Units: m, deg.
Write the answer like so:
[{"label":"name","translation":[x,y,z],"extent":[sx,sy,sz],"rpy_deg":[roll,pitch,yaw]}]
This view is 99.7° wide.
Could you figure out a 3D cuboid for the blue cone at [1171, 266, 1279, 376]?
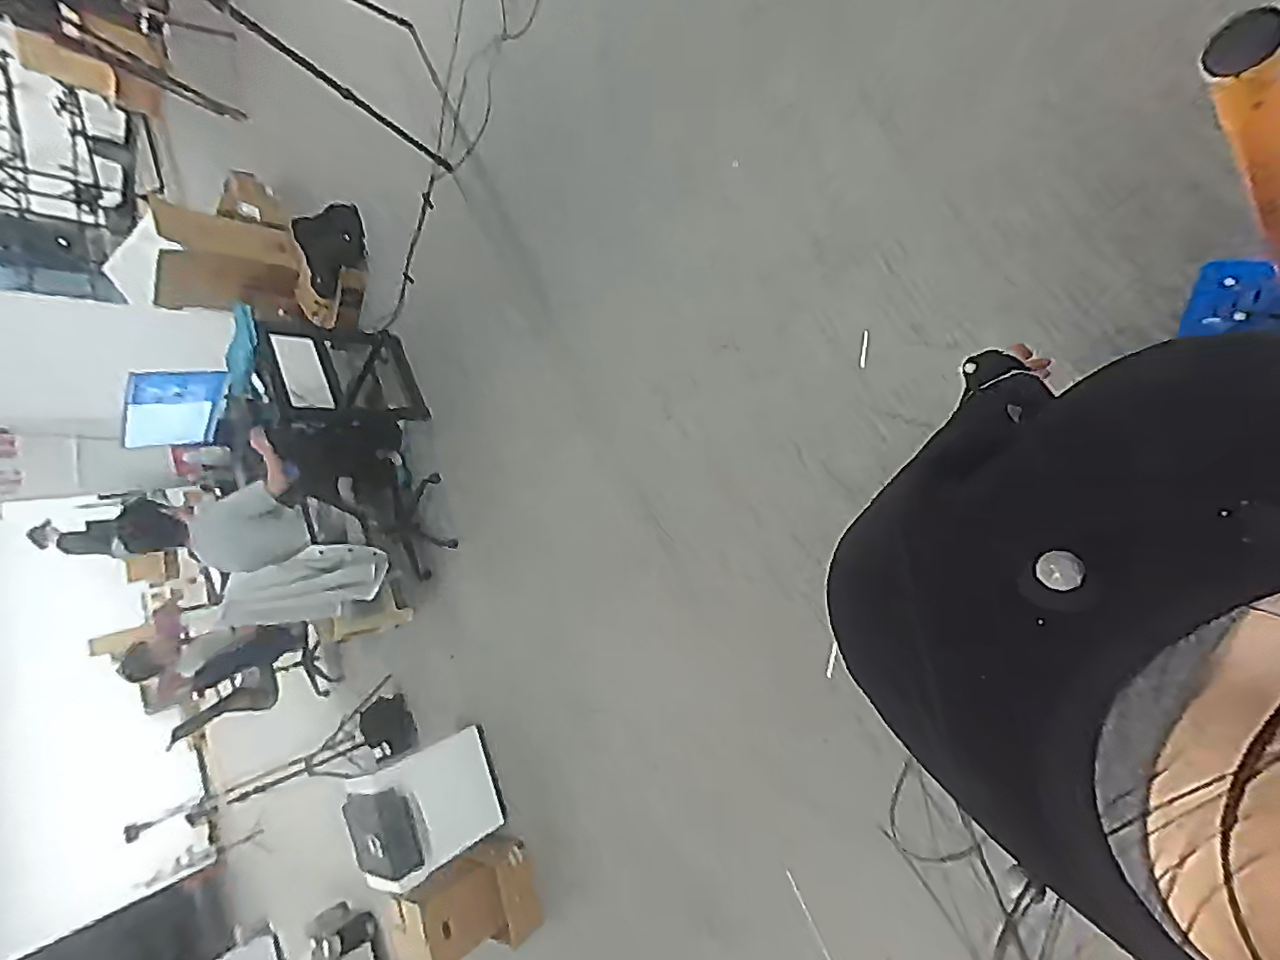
[{"label":"blue cone","translation":[1.011,-0.277,0.874],"extent":[0.193,0.380,0.192],"rpy_deg":[19,108,40]}]
